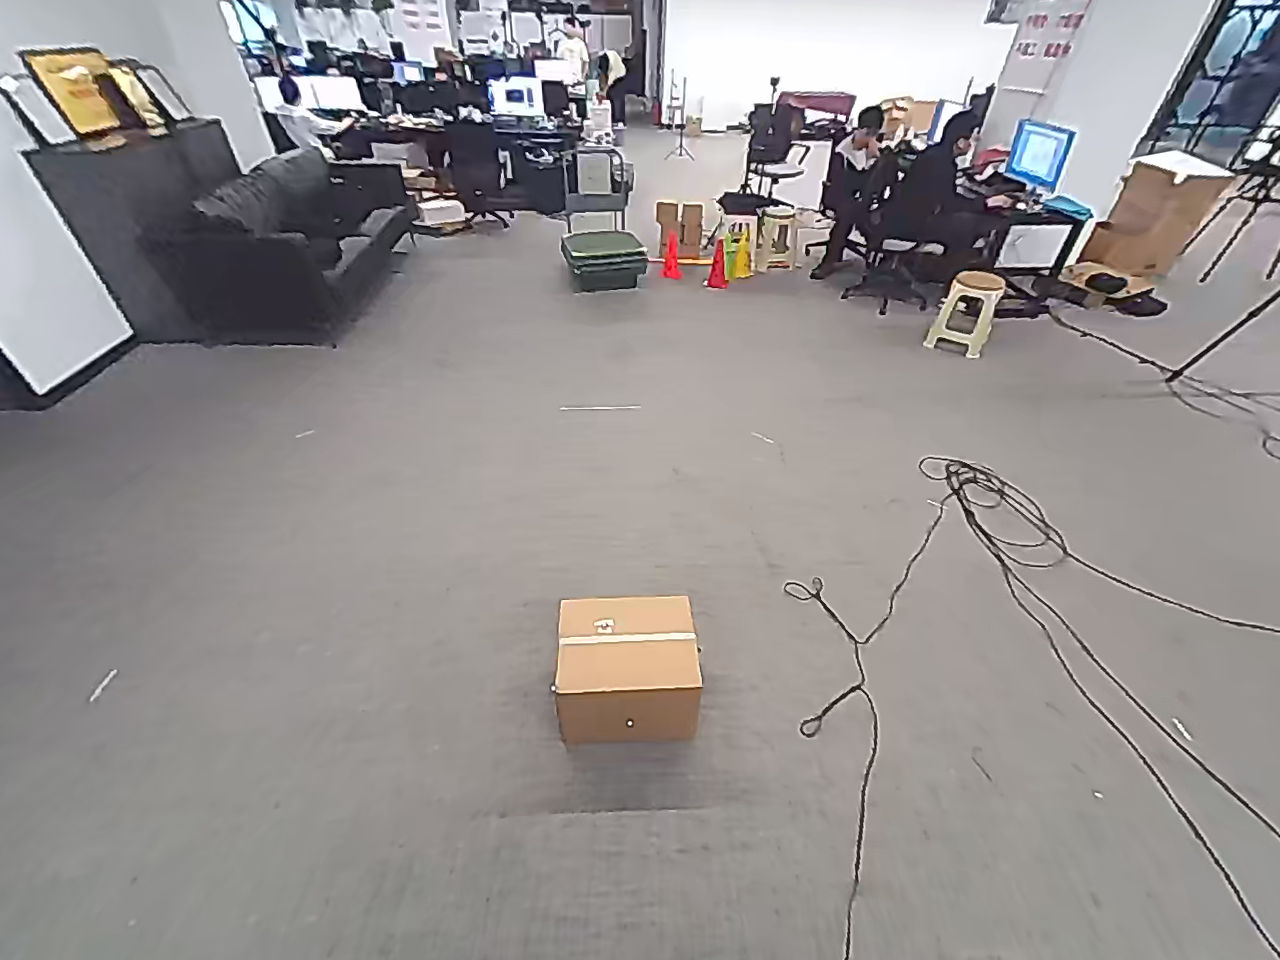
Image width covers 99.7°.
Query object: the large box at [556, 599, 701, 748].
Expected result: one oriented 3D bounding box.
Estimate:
[{"bbox_3d":[-0.040,0.600,1.681,0.408,0.320,0.320,-3,39,-3],"label":"large box"}]
